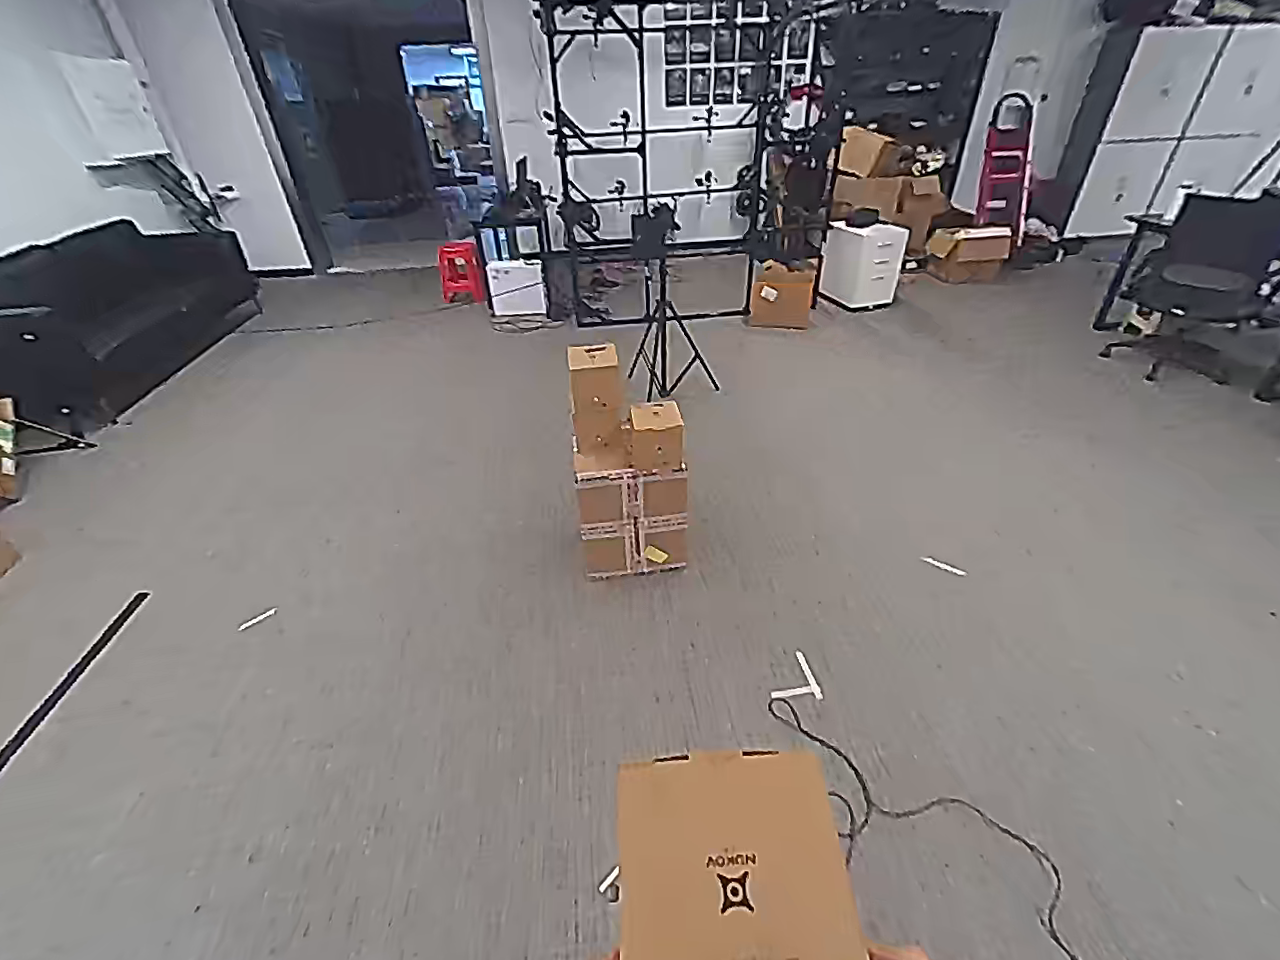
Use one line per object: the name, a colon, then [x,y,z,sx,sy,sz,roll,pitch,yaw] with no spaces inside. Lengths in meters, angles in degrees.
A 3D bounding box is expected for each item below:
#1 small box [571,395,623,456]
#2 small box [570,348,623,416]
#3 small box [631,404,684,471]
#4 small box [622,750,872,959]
small box: [-0.158,-0.210,1.982,0.168,0.176,0.179,-9,38,-6]
small box: [-0.152,-0.341,1.881,0.168,0.176,0.179,-7,38,-3]
small box: [0.059,-0.144,1.876,0.168,0.176,0.179,-5,38,-4]
small box: [0.072,0.343,0.440,0.168,0.176,0.179,-5,47,1]
